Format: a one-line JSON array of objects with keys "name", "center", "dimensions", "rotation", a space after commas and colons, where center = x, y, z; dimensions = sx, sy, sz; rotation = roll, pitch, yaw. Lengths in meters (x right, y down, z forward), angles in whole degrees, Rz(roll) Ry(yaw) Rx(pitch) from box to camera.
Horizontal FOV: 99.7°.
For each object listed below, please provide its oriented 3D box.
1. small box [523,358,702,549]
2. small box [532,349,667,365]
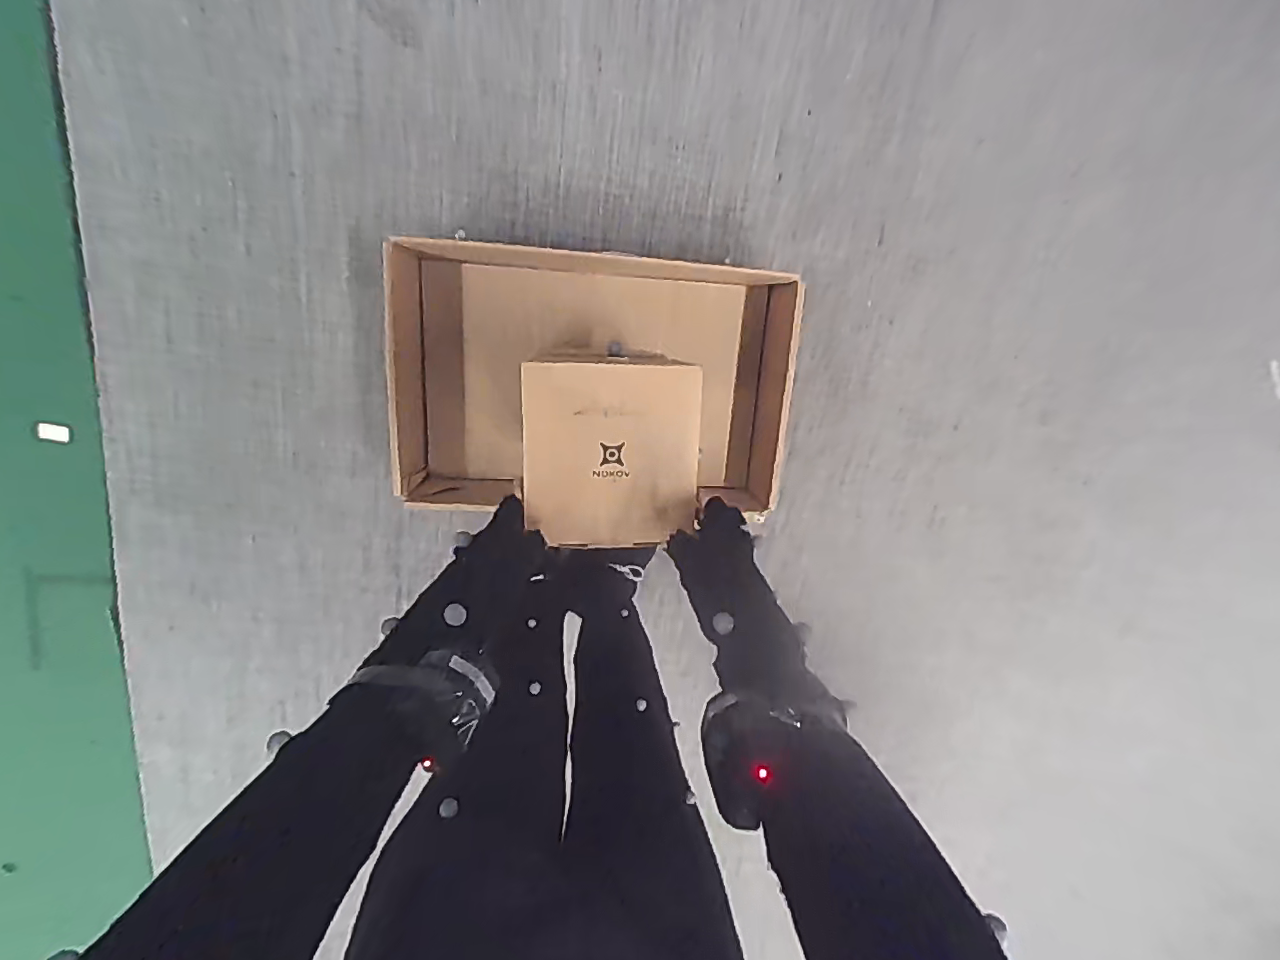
[{"name": "small box", "center": [-0.036, -0.038, 0.585], "dimensions": [0.168, 0.176, 0.179], "rotation": [-1, 104, -8]}, {"name": "small box", "center": [-0.058, -0.084, 0.740], "dimensions": [0.168, 0.176, 0.179], "rotation": [0, 105, -7]}]
